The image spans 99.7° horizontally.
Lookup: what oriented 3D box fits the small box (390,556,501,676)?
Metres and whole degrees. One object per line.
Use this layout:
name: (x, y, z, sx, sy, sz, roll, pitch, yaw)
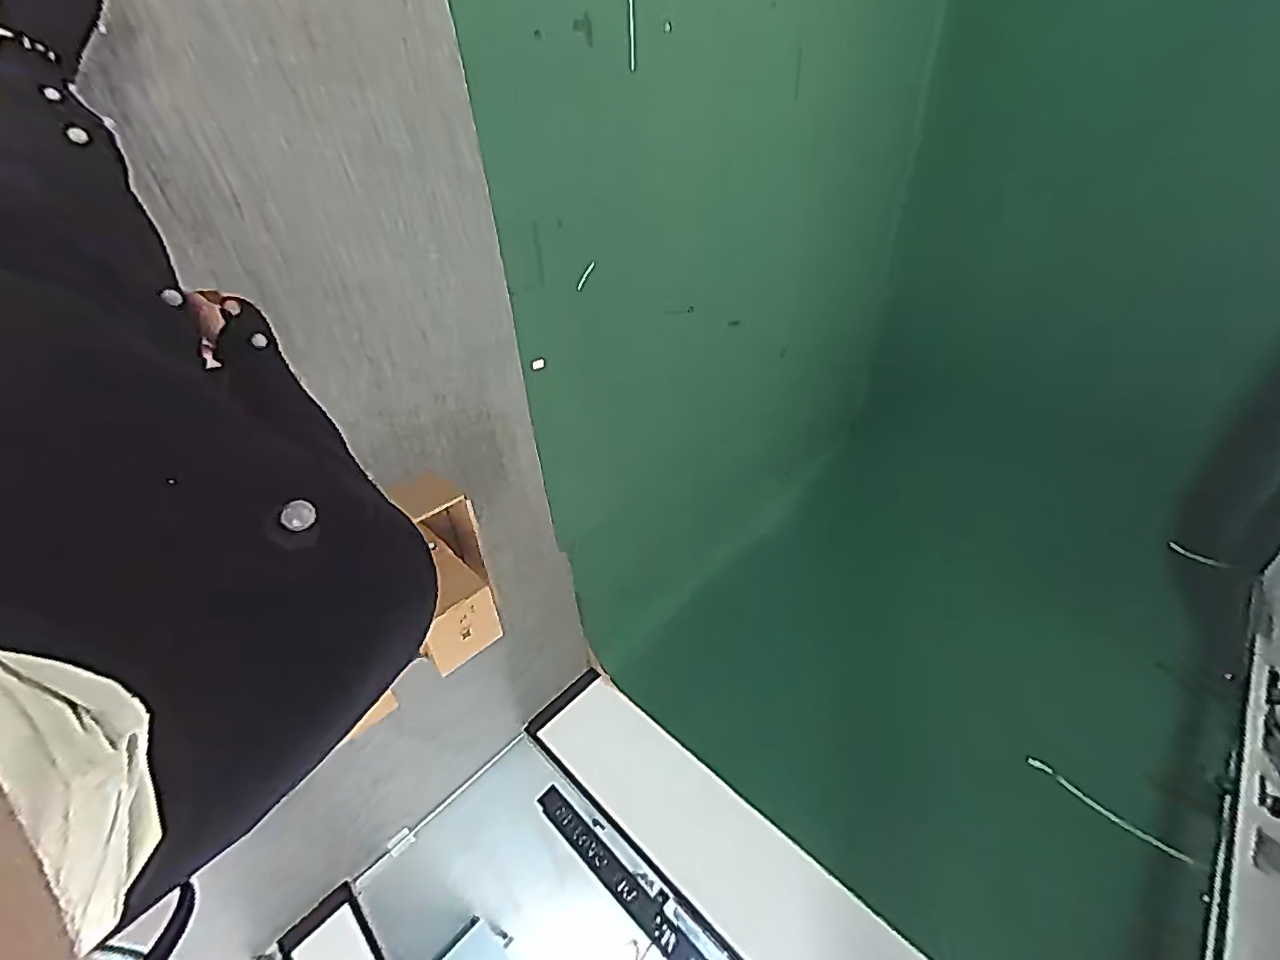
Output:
small box: (-0.455, 0.311, 1.269, 0.168, 0.176, 0.179, -32, 135, -35)
